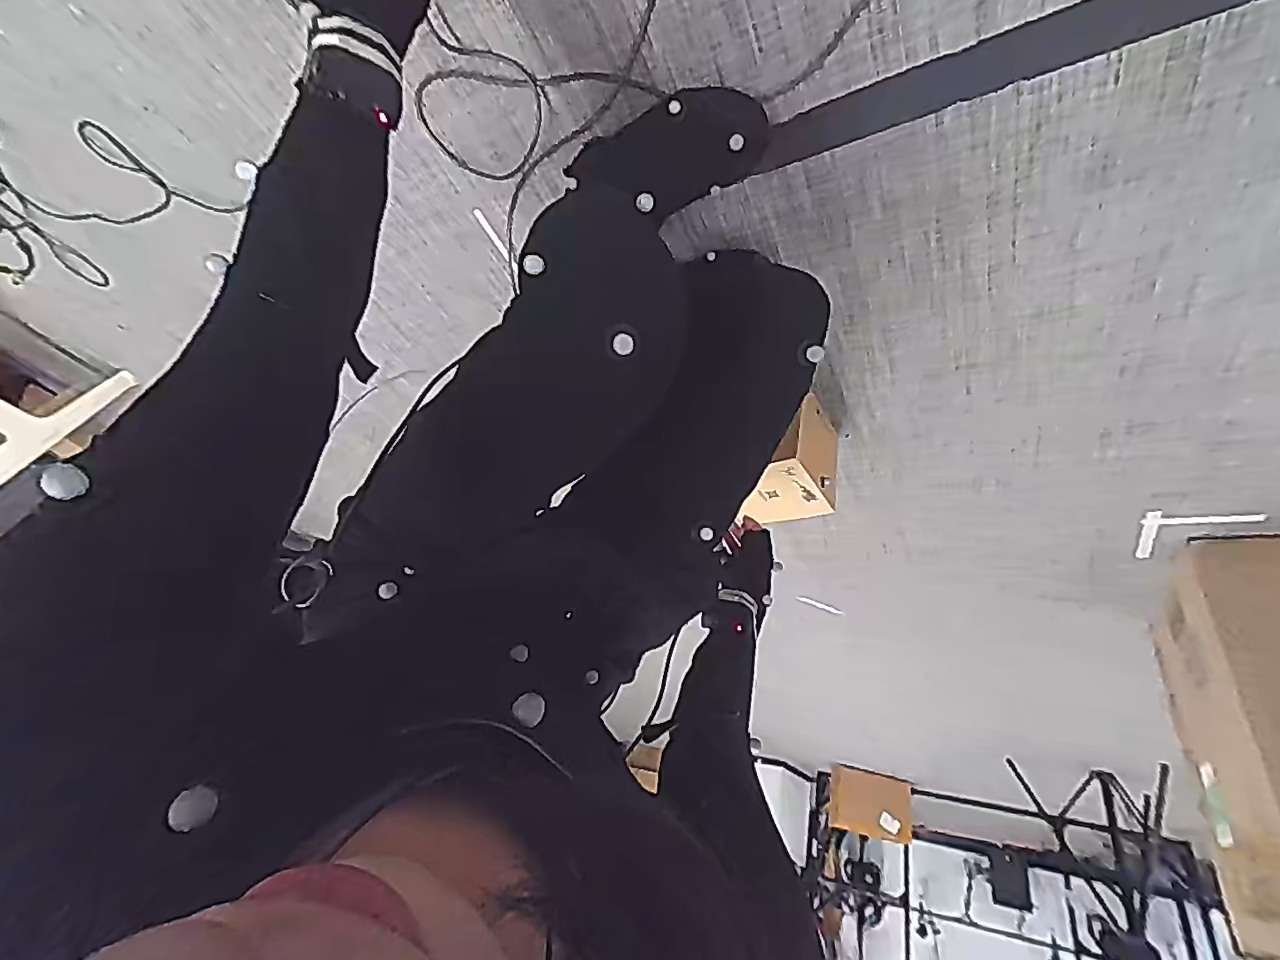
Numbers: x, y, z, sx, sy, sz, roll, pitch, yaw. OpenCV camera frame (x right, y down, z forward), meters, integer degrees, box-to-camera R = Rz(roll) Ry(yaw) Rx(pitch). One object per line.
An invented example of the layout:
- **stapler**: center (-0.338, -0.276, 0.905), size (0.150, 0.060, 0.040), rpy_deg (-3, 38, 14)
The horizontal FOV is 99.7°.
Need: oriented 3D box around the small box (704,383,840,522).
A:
- **small box**: center (0.240, -0.045, 0.961), size (0.179, 0.176, 0.168), rpy_deg (-11, 139, 38)
